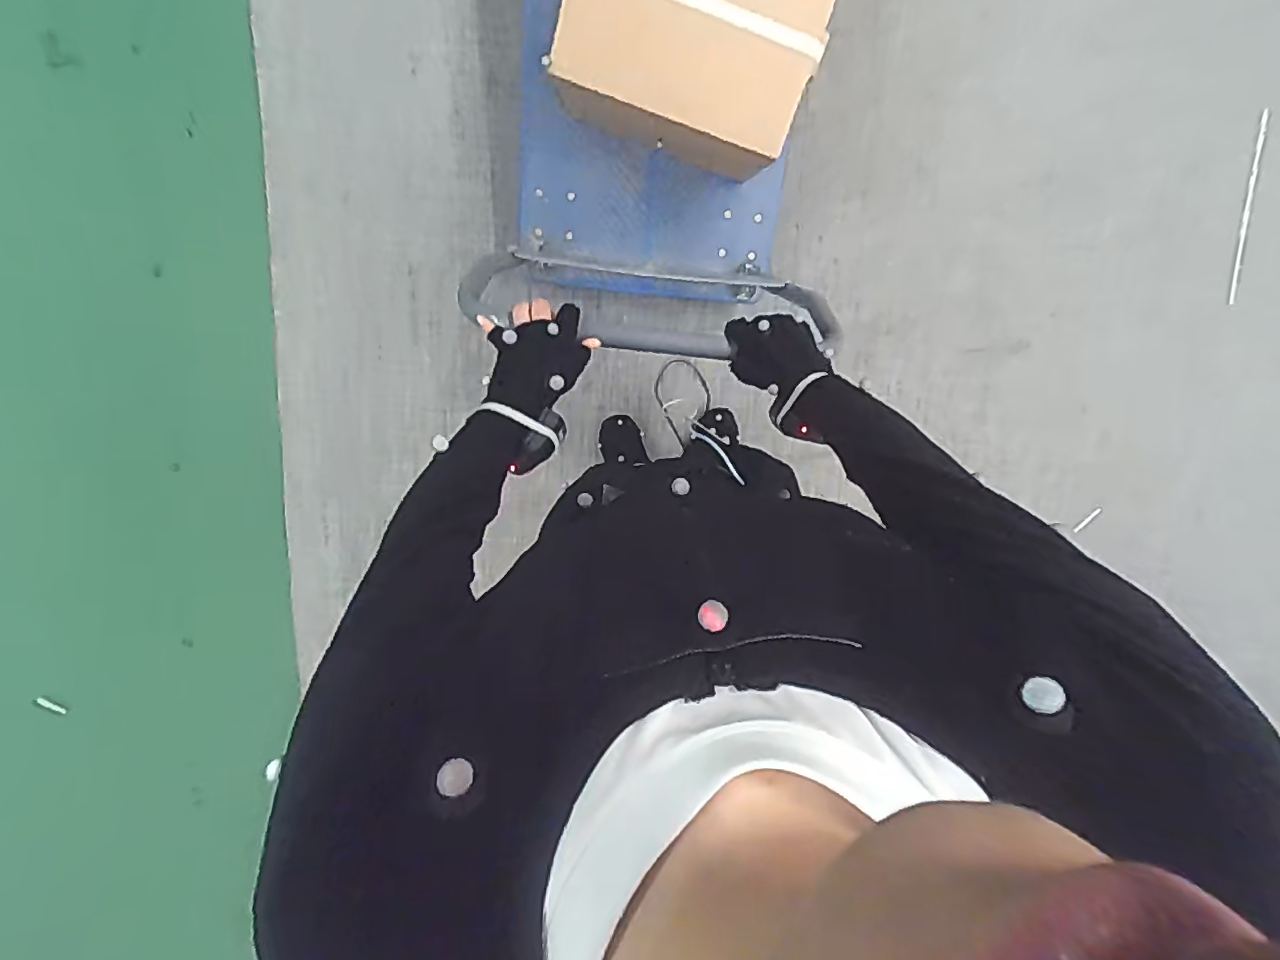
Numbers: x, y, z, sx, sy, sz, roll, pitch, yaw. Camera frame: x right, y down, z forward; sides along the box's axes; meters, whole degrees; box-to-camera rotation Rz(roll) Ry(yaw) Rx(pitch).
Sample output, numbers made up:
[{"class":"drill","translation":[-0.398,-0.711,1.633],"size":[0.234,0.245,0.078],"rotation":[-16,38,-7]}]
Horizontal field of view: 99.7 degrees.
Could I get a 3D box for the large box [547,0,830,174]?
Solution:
[{"class":"large box","translation":[0.086,-0.791,0.970],"size":[0.408,0.320,0.320],"rotation":[17,112,-7]}]
